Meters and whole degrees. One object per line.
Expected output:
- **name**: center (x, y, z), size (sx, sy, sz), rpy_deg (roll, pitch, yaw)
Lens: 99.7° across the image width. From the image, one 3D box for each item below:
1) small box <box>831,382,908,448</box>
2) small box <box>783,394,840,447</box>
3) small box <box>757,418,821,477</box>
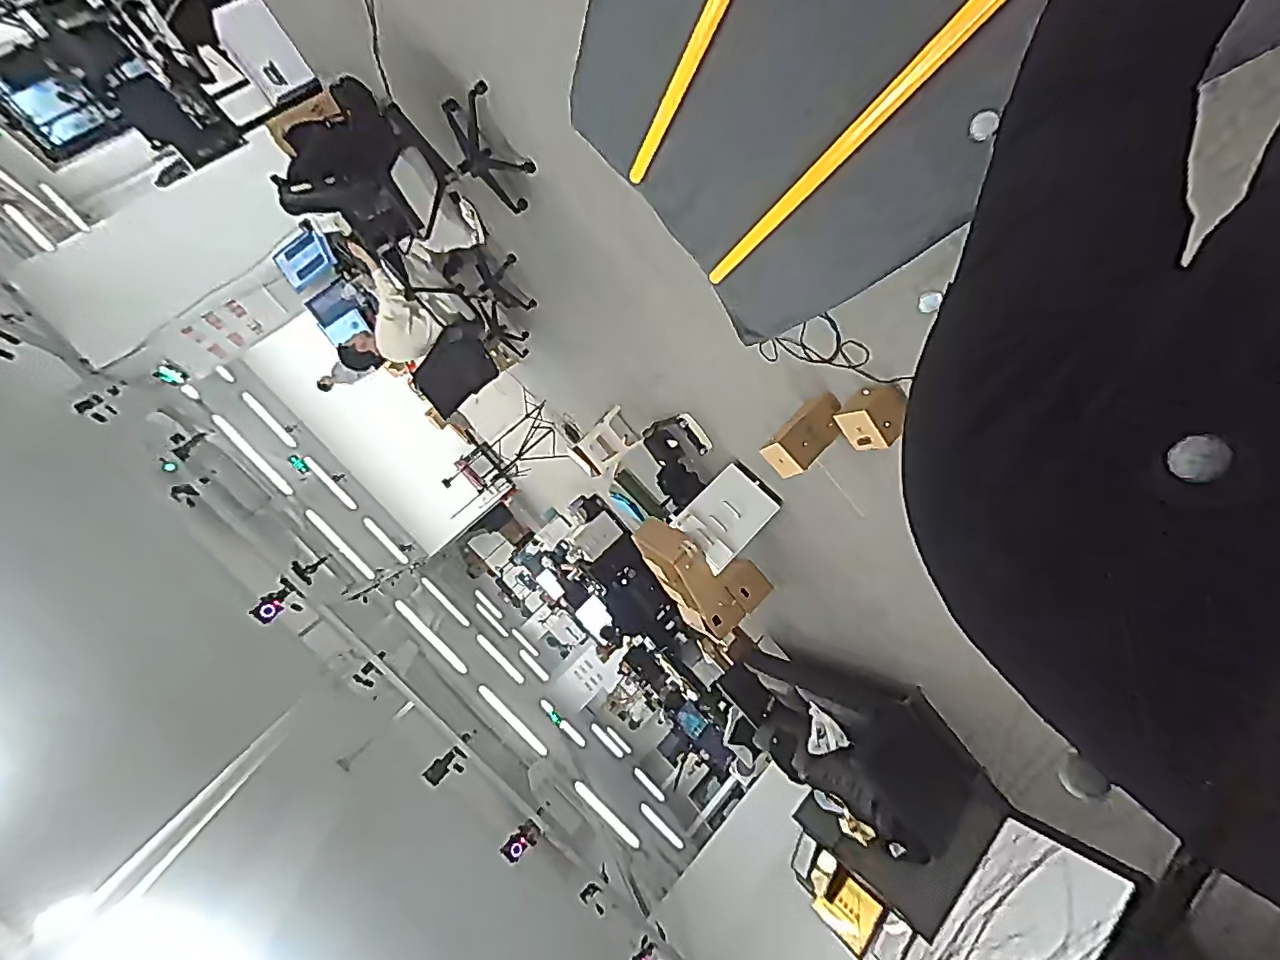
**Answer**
- **small box**: center (0.870, -0.242, 2.040), size (0.179, 0.176, 0.168), rpy_deg (51, 163, -13)
- **small box**: center (0.748, -0.245, 2.333), size (0.168, 0.176, 0.179), rpy_deg (47, 164, -5)
- **small box**: center (0.633, -0.139, 2.278), size (0.168, 0.176, 0.179), rpy_deg (47, 164, -4)
